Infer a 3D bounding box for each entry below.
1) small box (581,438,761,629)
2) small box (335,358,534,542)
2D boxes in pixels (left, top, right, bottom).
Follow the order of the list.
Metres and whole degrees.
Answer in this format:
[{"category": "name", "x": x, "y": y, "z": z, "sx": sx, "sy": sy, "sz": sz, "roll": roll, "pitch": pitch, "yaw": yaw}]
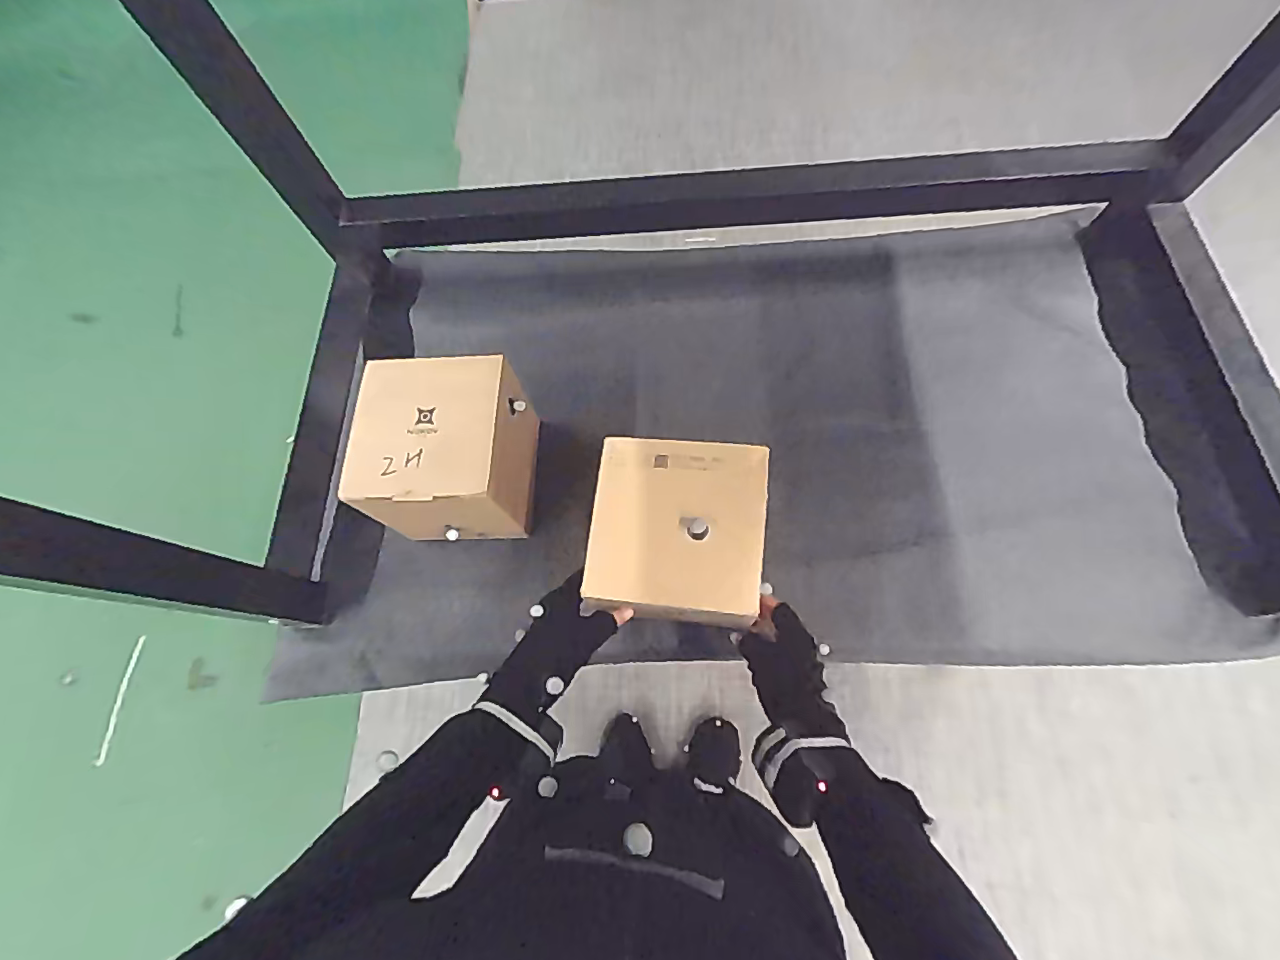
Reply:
[{"category": "small box", "x": 0.043, "y": 0.063, "z": 0.595, "sx": 0.168, "sy": 0.179, "sz": 0.176, "roll": 4, "pitch": 71, "yaw": 10}, {"category": "small box", "x": -0.236, "y": -0.030, "z": 0.673, "sx": 0.168, "sy": 0.176, "sz": 0.179, "roll": -2, "pitch": 68, "yaw": 5}]
